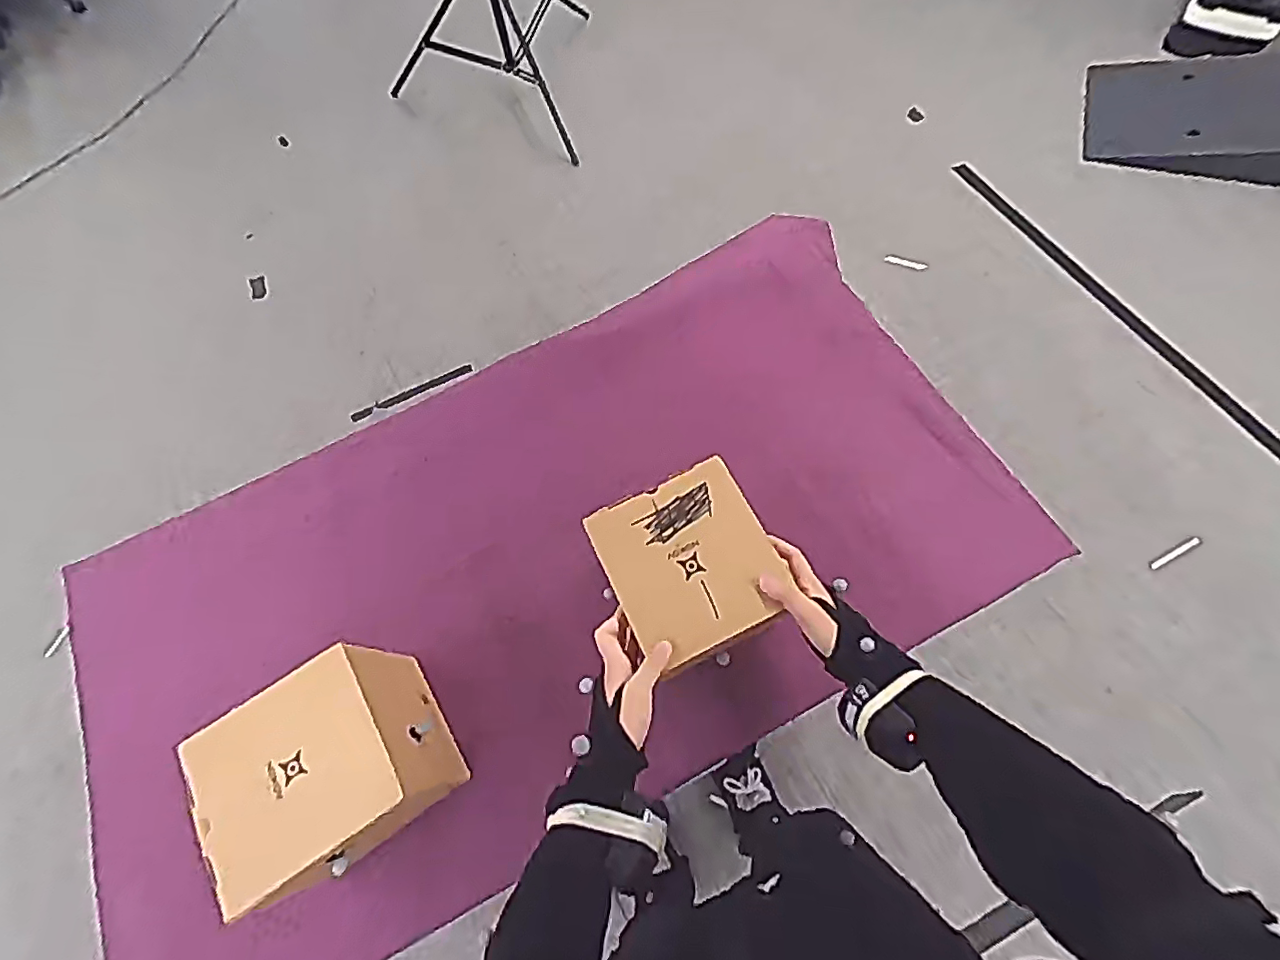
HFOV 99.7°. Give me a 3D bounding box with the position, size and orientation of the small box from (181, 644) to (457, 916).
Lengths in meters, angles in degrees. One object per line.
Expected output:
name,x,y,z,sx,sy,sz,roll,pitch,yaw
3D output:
small box,-0.320,0.298,0.579,0.179,0.176,0.168,-34,69,-8

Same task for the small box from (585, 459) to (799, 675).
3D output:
small box,0.052,0.109,0.623,0.168,0.176,0.179,-25,70,-5
